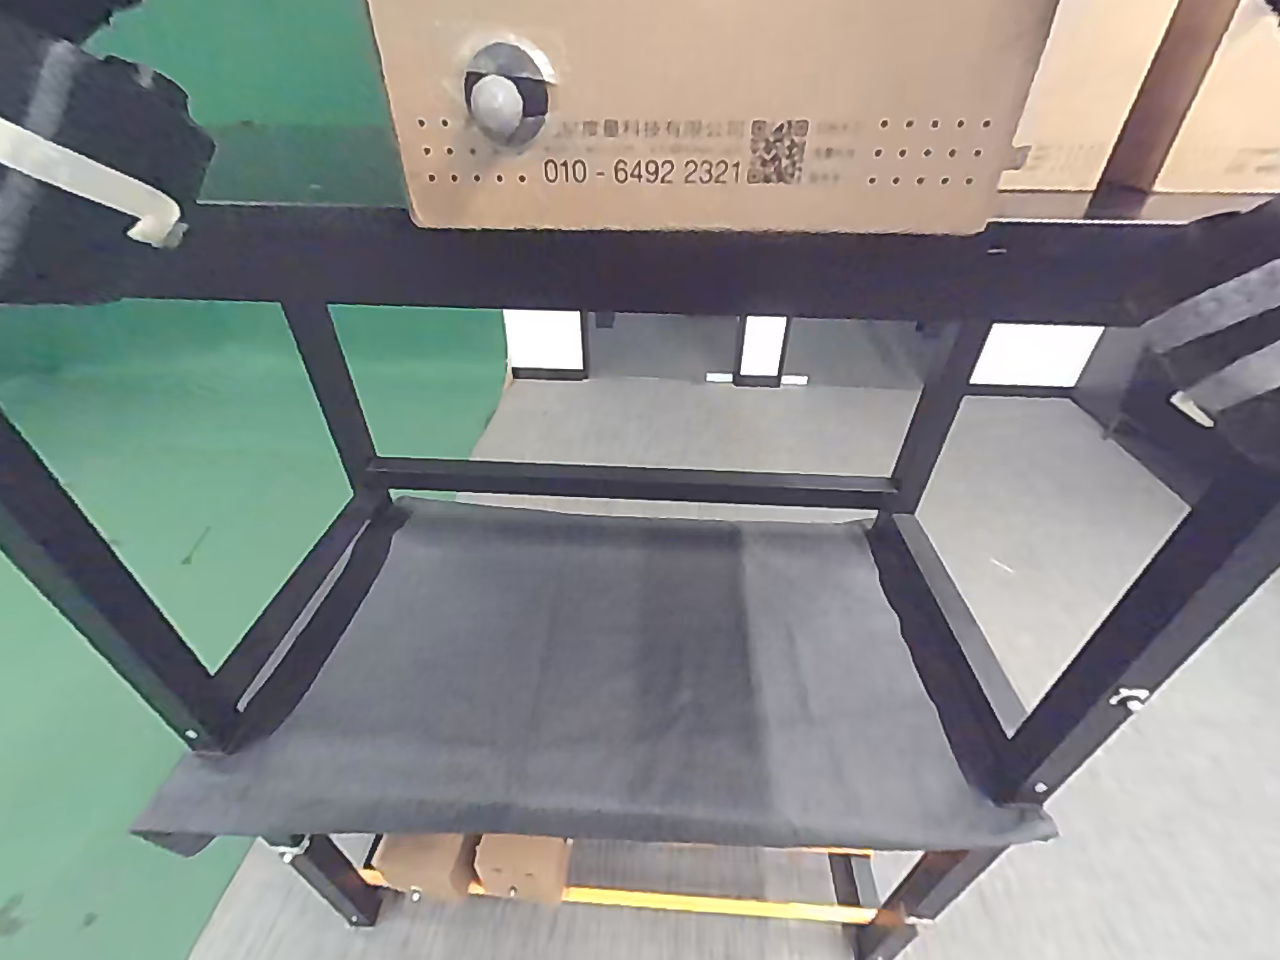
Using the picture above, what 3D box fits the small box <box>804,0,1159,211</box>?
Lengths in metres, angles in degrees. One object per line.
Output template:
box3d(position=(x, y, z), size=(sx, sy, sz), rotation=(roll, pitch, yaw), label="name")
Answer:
box3d(position=(0.234, -0.314, 0.413), size=(0.168, 0.176, 0.179), rotation=(2, 36, 2), label="small box")
